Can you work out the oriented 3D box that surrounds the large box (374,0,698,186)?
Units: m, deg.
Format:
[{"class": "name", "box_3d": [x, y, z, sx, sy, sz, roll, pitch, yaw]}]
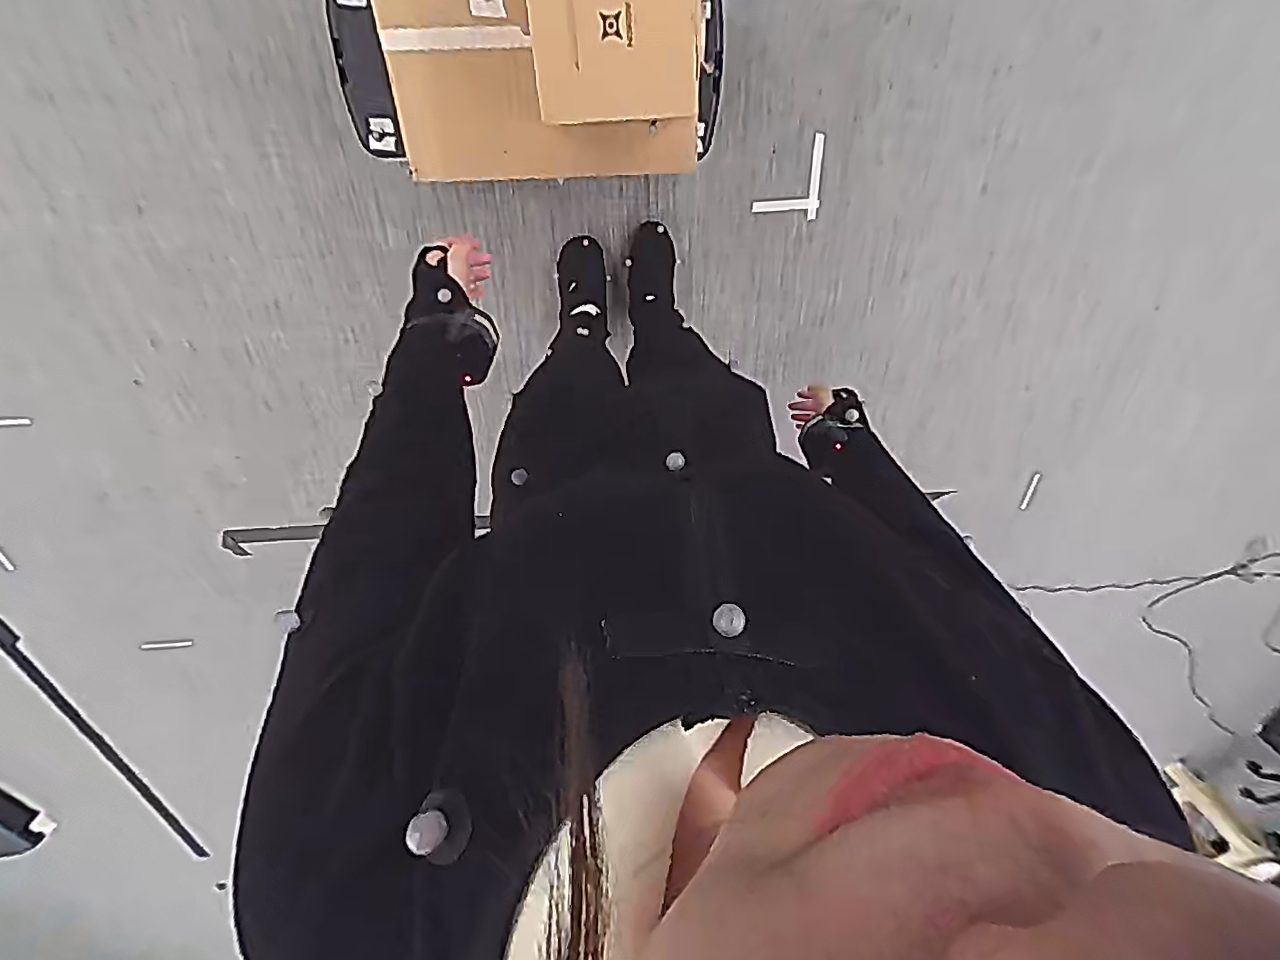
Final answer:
[{"class": "large box", "box_3d": [-0.132, -0.635, 0.807, 0.408, 0.320, 0.320, -4, 121, -3]}]

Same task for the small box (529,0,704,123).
[{"class": "small box", "box_3d": [-0.030, -0.505, 0.609, 0.179, 0.176, 0.168, -5, 123, -3]}]
